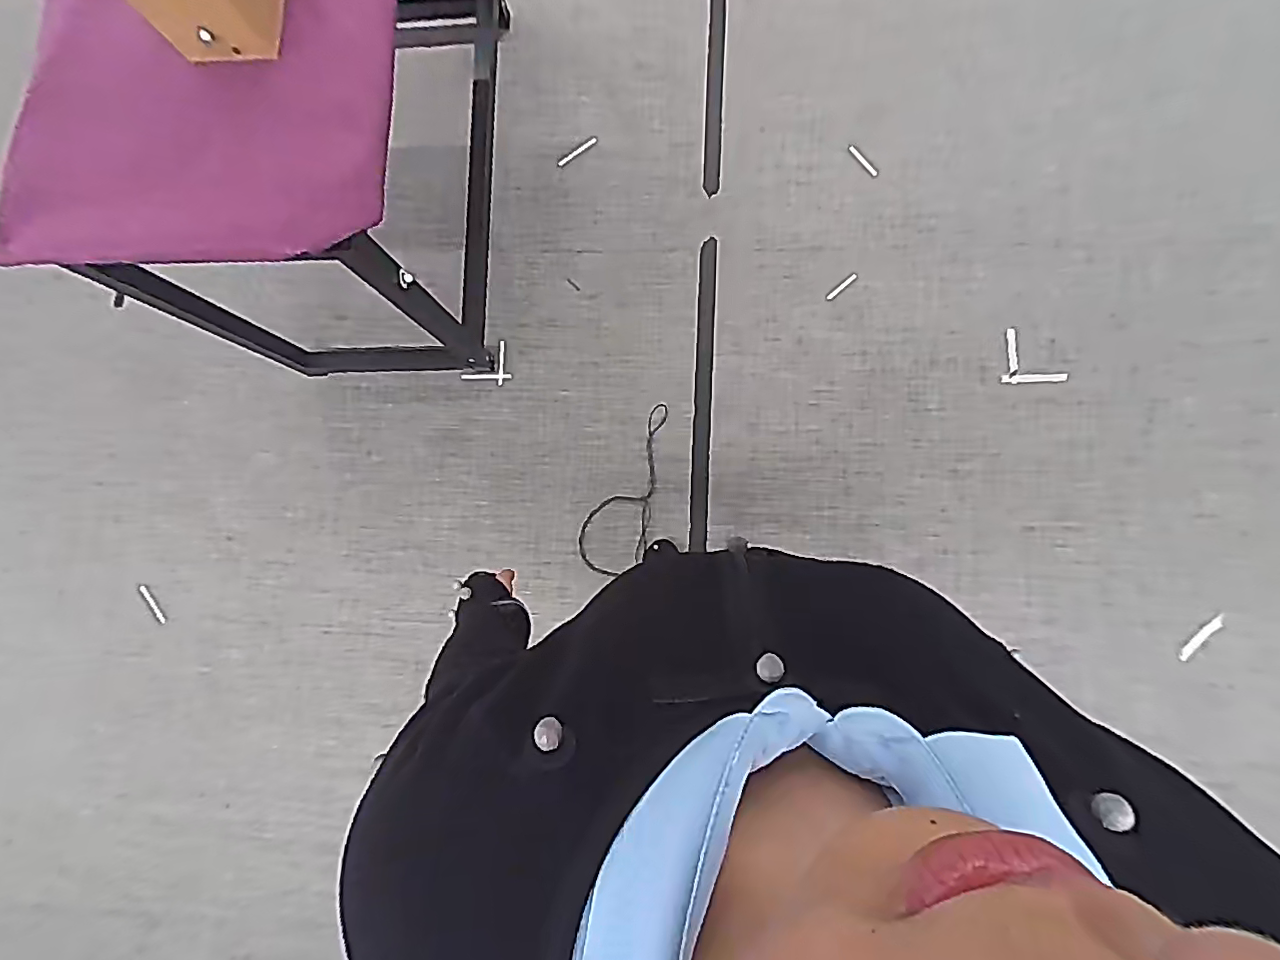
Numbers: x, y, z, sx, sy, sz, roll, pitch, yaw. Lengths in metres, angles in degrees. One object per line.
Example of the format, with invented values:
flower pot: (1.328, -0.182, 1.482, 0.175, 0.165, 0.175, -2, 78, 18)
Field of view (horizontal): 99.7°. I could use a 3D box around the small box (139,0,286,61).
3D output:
small box: (-0.701, -0.819, 0.863, 0.168, 0.176, 0.179, 2, 84, 5)
